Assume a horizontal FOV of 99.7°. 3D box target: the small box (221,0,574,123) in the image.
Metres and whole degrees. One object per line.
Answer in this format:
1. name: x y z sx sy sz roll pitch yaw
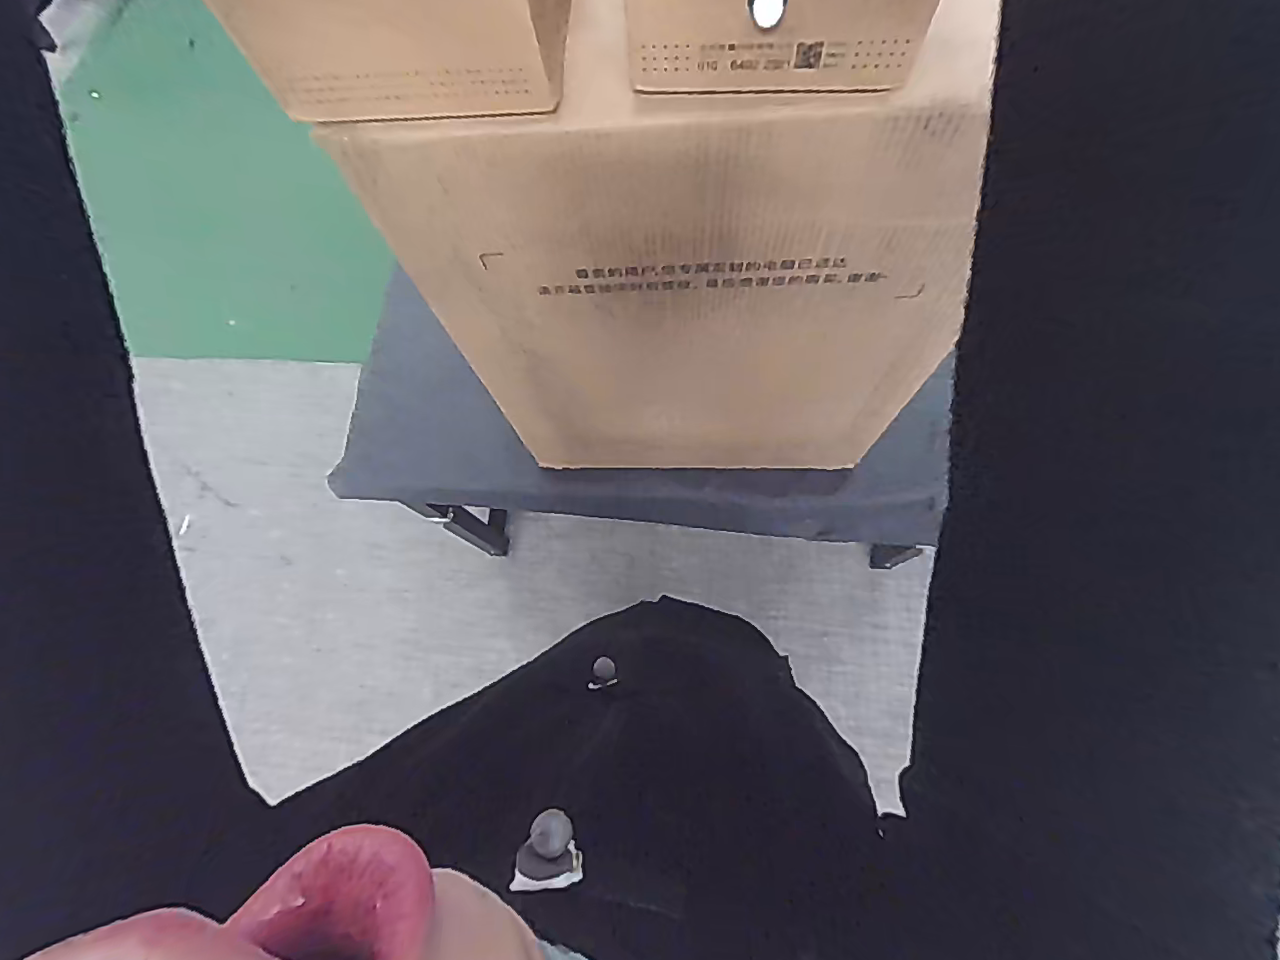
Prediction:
1. small box: -0.139 -0.327 0.292 0.179 0.176 0.168 2 73 4
